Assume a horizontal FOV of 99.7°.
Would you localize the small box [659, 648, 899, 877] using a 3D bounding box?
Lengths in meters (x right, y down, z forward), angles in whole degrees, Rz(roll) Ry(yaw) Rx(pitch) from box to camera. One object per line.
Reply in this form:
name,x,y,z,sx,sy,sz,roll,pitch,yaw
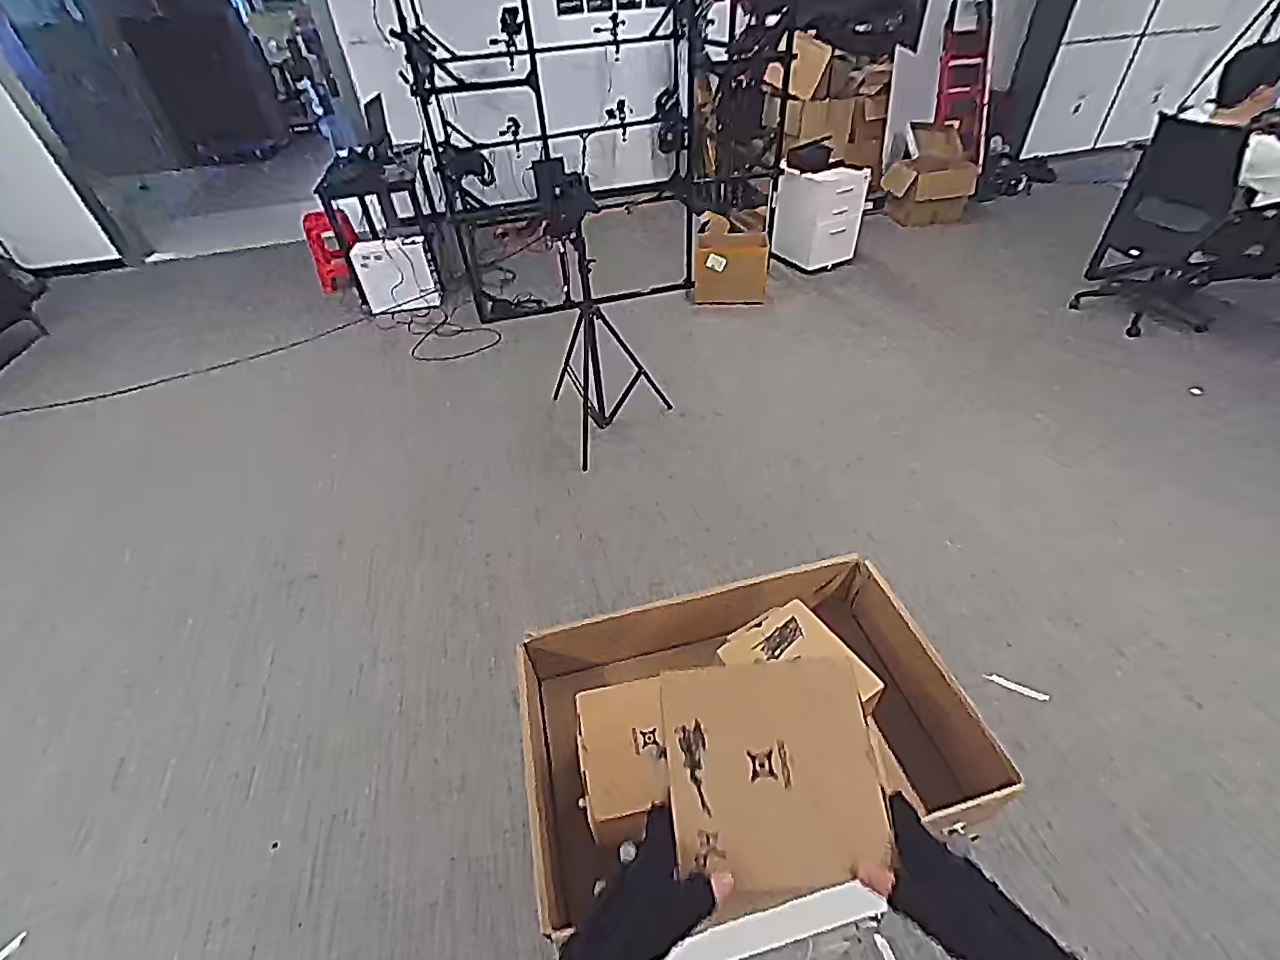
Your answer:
small box,0.114,0.268,0.530,0.179,0.176,0.168,-4,62,-2
